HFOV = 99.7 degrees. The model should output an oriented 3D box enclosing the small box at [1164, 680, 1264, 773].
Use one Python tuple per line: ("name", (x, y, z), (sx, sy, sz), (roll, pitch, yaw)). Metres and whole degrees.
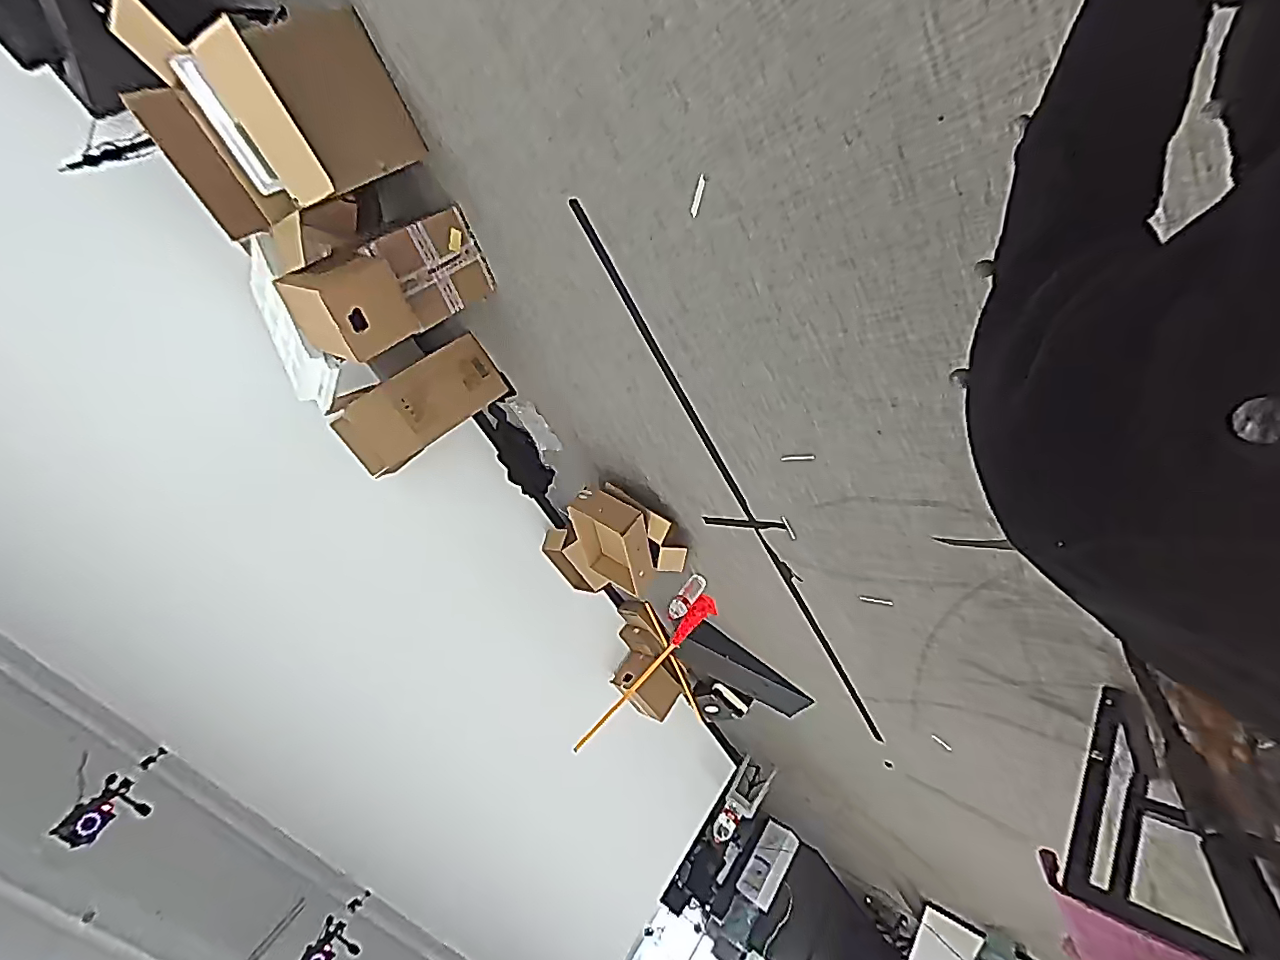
("small box", (1.750, 0.743, 1.652), (0.179, 0.176, 0.168), (15, 140, 39))
